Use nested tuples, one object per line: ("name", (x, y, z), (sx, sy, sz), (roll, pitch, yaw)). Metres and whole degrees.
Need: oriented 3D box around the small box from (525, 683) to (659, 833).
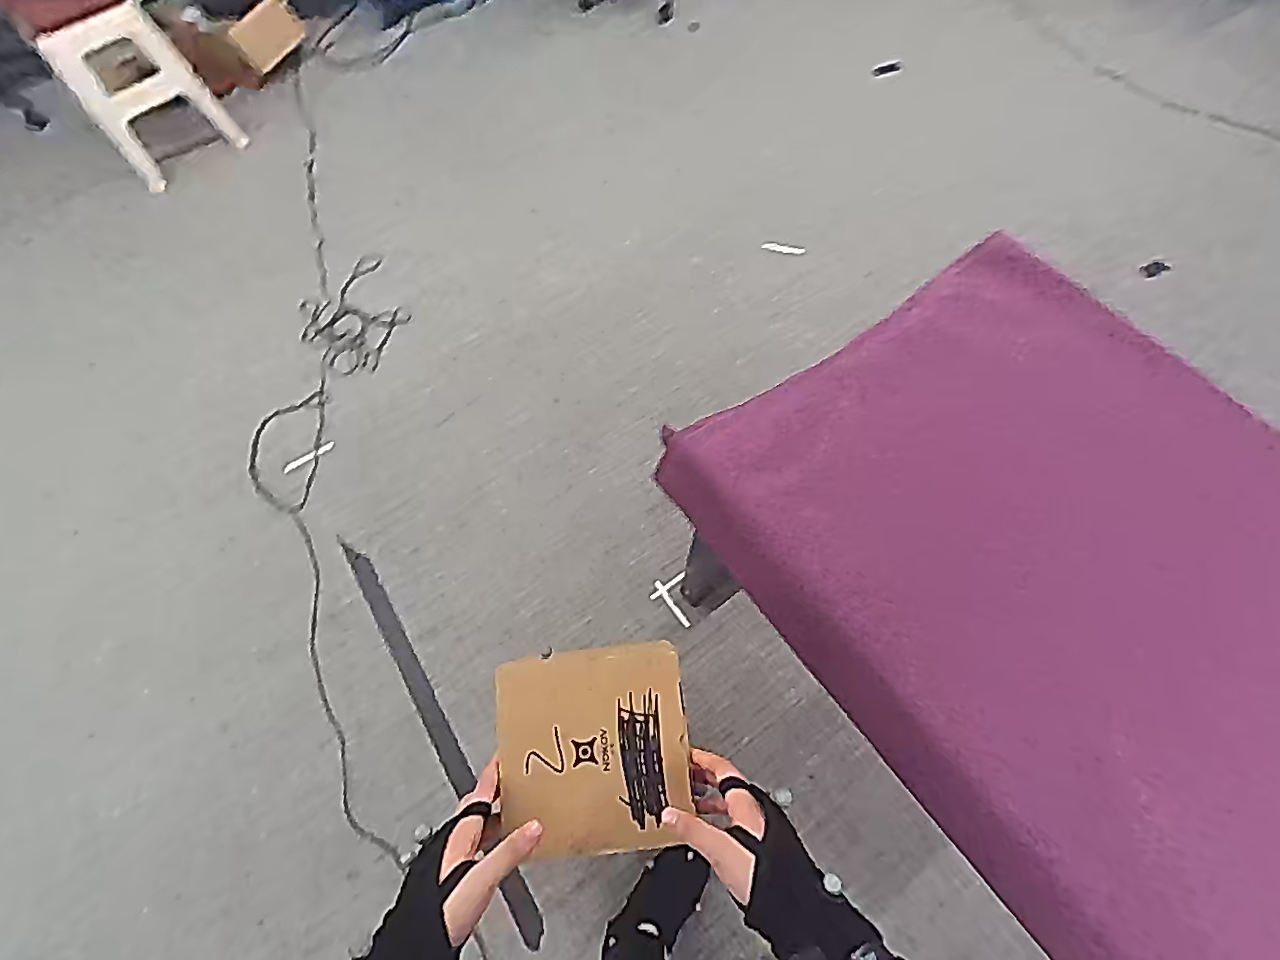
("small box", (-0.083, 0.496, 0.986), (0.179, 0.176, 0.168), (-32, 69, -13))
